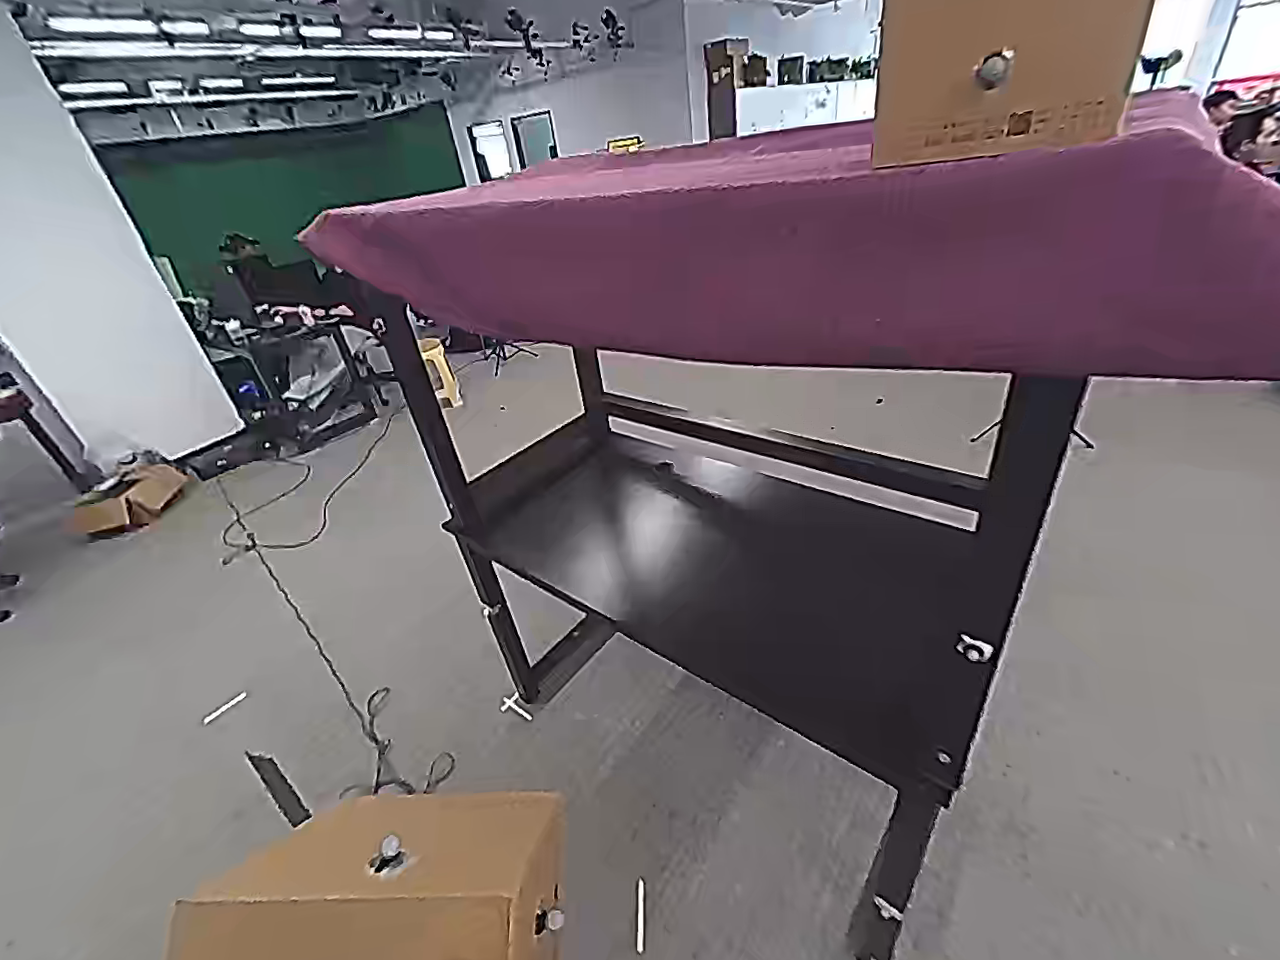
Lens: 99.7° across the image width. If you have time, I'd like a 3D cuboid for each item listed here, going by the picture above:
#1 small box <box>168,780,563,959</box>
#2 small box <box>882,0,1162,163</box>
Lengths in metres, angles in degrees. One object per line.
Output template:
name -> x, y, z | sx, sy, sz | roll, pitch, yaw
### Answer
small box -> -0.144, 0.297, 0.332 | 0.179, 0.176, 0.168 | 0, 76, 0
small box -> 0.304, -0.362, 0.436 | 0.168, 0.176, 0.179 | 12, 36, 31
